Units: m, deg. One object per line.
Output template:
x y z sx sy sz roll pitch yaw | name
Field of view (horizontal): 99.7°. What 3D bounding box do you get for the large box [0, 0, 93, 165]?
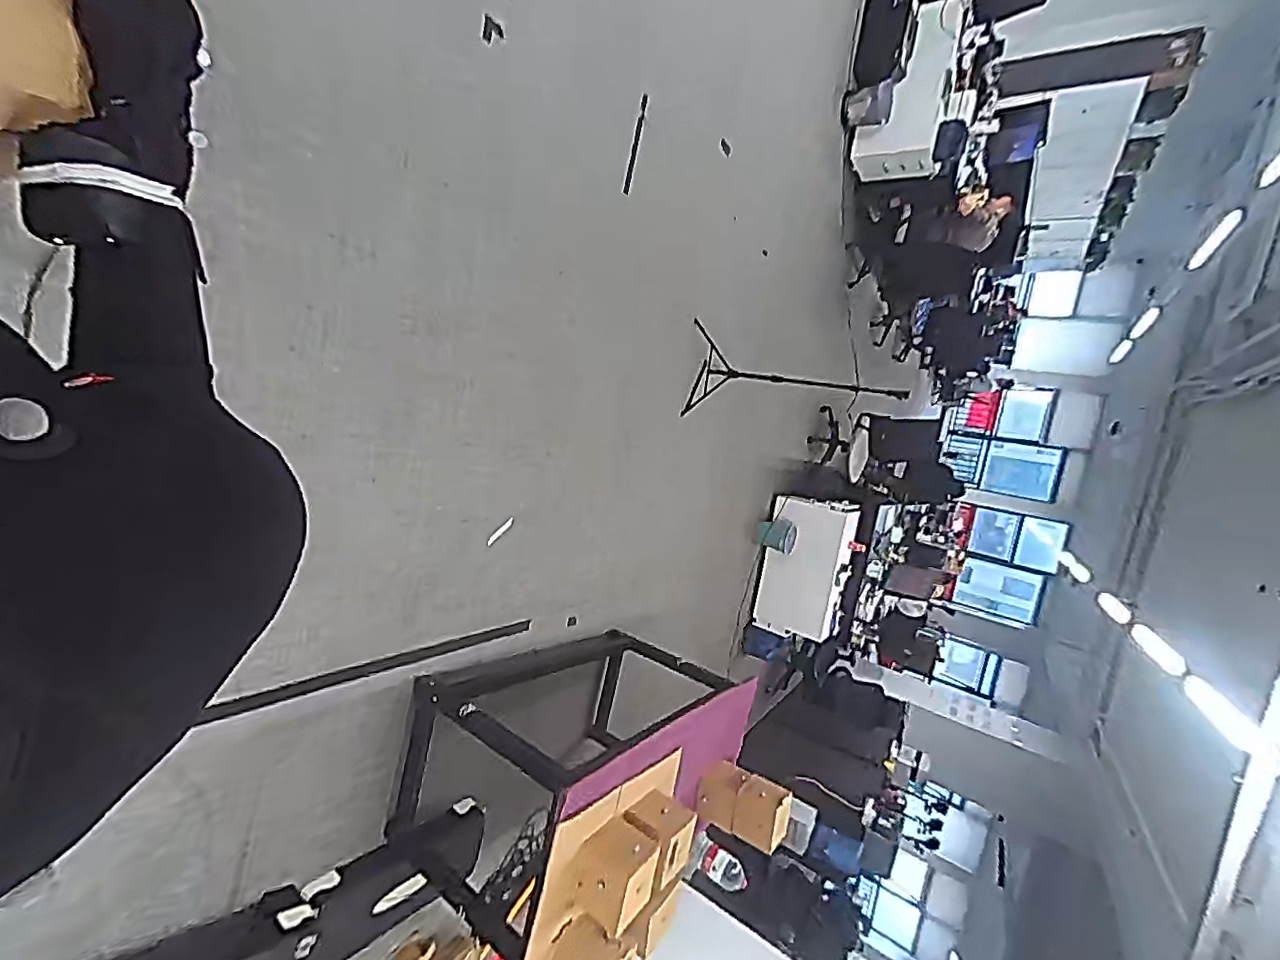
-0.597 -0.381 0.248 0.408 0.320 0.320 -15 115 -59 | large box
